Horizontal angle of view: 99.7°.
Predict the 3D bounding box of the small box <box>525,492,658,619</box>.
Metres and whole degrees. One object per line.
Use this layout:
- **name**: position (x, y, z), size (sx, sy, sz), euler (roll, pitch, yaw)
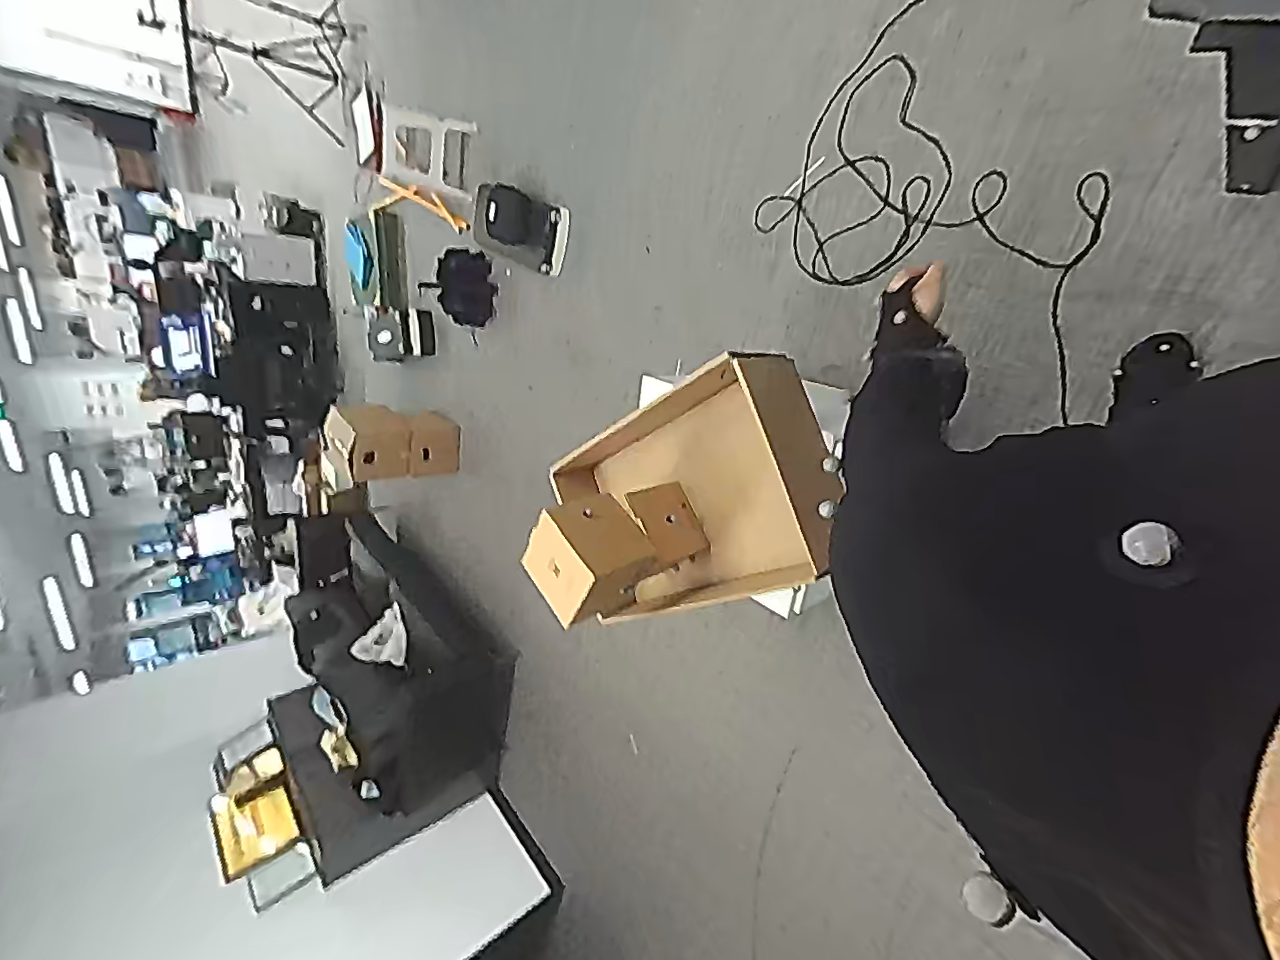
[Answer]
- **small box**: position (-0.097, 0.141, 1.082), size (0.179, 0.176, 0.168), euler (48, 131, 25)
